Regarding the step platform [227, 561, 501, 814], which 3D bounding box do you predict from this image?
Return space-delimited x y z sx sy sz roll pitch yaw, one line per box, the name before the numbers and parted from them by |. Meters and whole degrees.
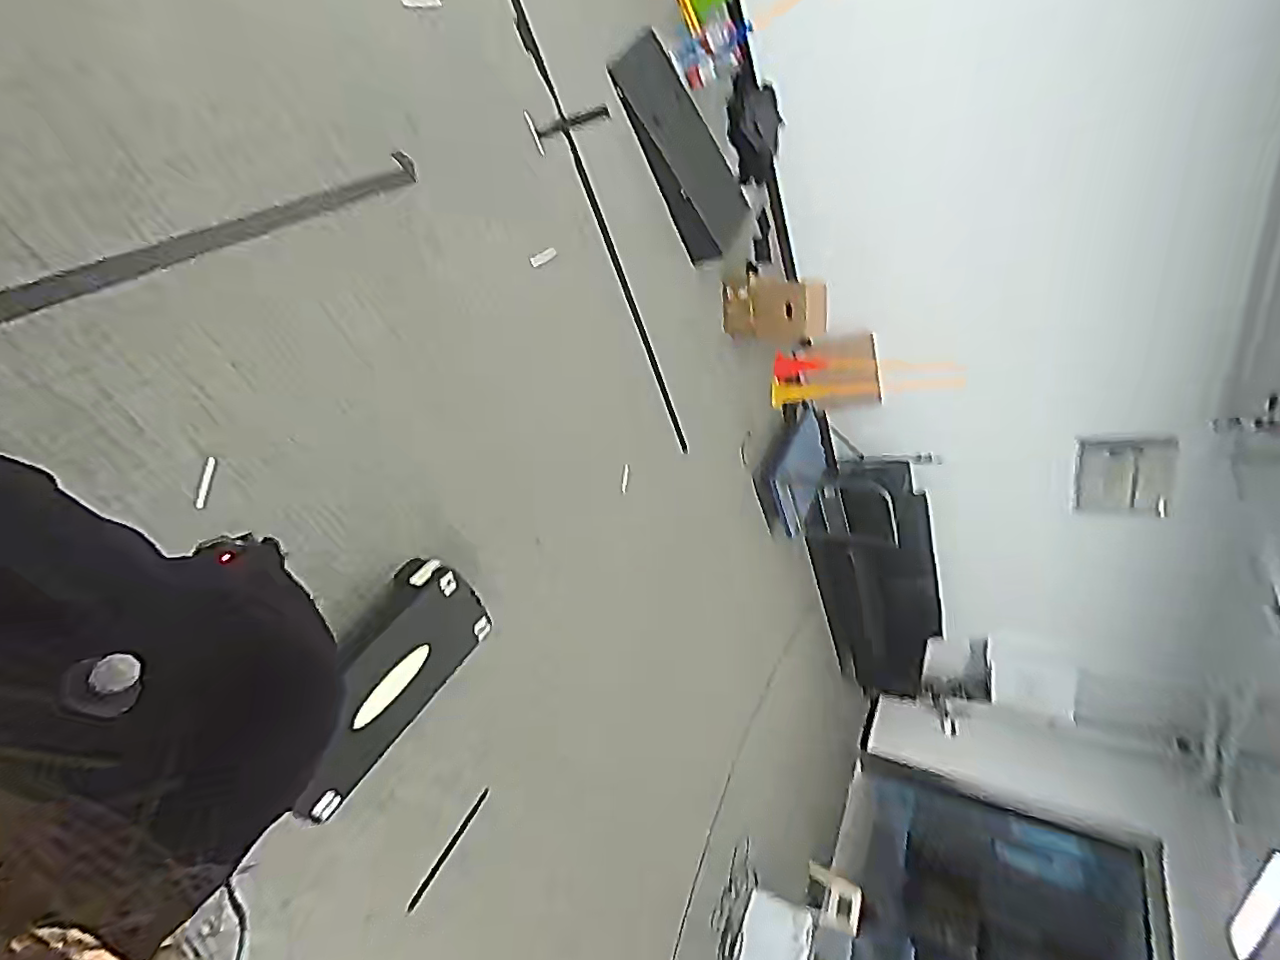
step platform | -0.706 0.532 1.502 0.684 0.204 0.286 -46 126 -43
